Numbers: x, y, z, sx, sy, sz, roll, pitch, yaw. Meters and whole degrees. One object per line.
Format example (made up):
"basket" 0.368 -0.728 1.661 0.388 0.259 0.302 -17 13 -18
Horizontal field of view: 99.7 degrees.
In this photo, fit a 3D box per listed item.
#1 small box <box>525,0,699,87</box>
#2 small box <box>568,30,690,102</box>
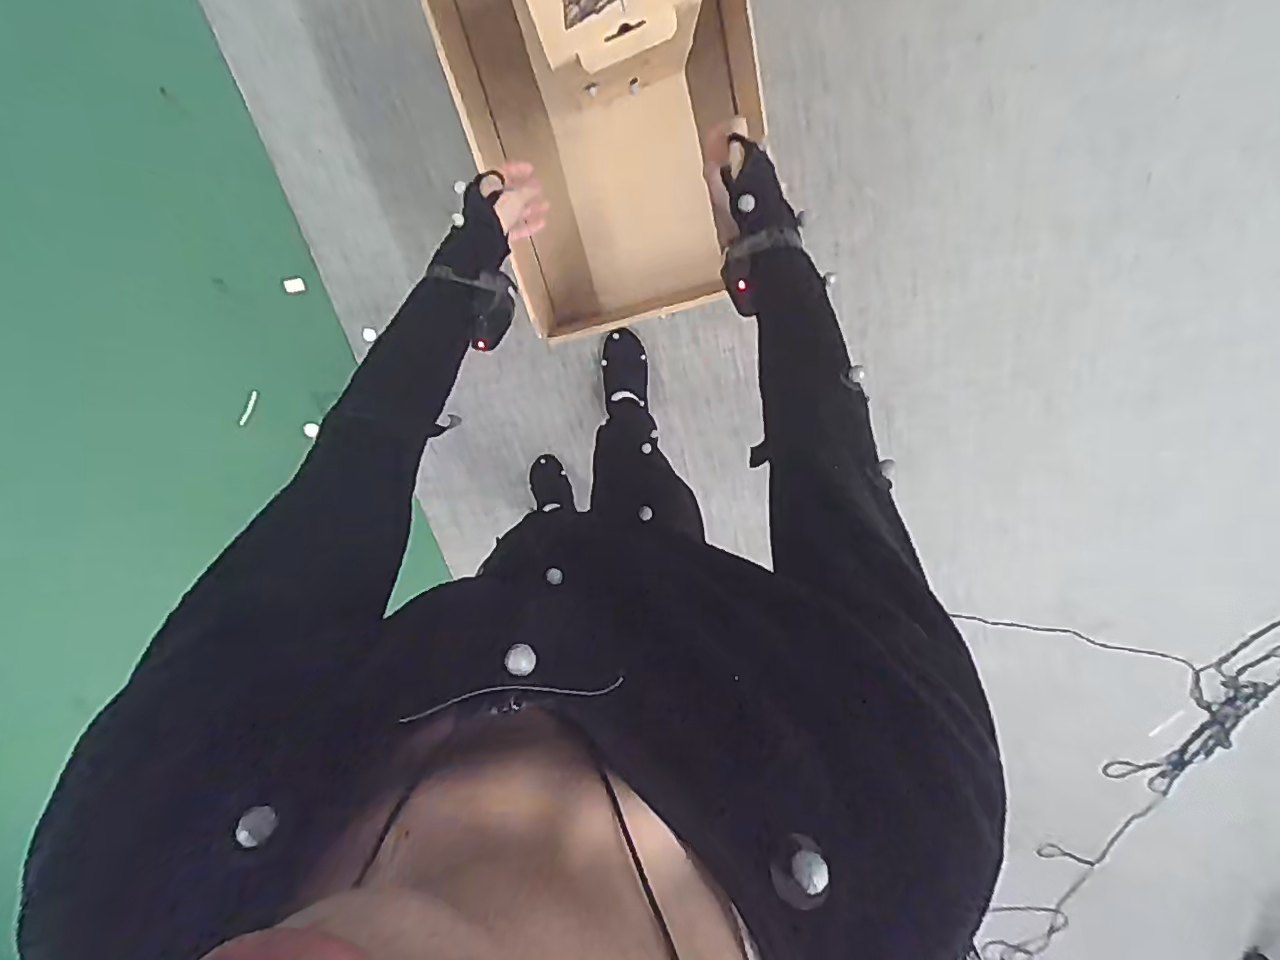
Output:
"small box" -0.044 -0.549 0.571 0.168 0.176 0.179 -18 114 8
"small box" -0.039 -0.629 0.715 0.168 0.176 0.179 -17 116 7
